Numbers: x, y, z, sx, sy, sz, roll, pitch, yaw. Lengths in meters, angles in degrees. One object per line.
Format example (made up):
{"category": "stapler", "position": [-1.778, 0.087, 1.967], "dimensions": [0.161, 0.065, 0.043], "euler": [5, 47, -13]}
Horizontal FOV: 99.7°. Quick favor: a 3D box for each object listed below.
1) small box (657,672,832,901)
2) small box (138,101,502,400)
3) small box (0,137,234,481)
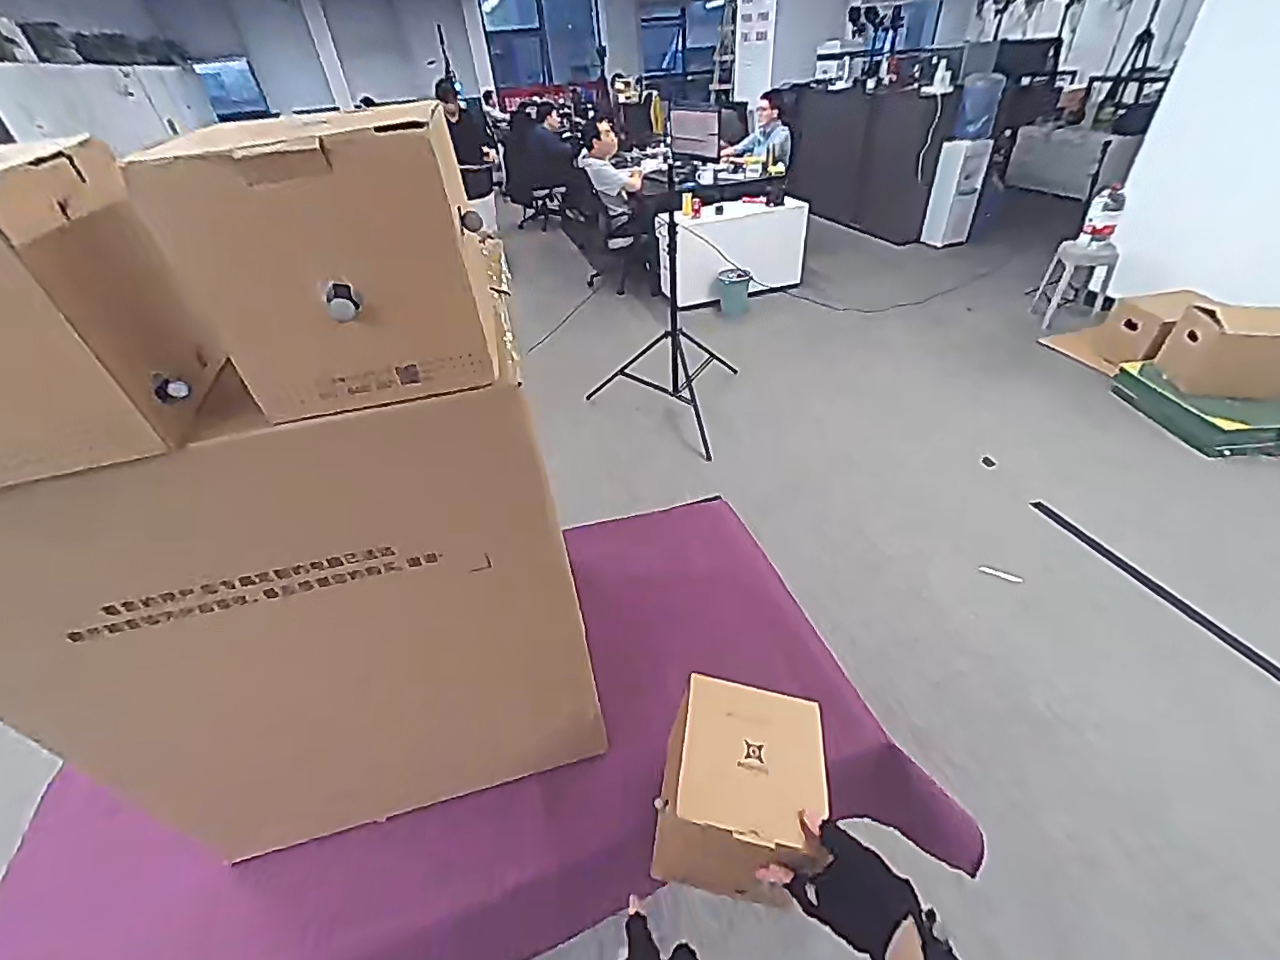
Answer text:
{"category": "small box", "position": [0.120, 0.375, 0.664], "dimensions": [0.168, 0.176, 0.179], "euler": [12, 35, 3]}
{"category": "small box", "position": [-0.207, -0.173, 0.415], "dimensions": [0.168, 0.176, 0.179], "euler": [-12, 40, -9]}
{"category": "small box", "position": [-0.423, -0.111, 0.363], "dimensions": [0.179, 0.176, 0.168], "euler": [-15, 40, -10]}
